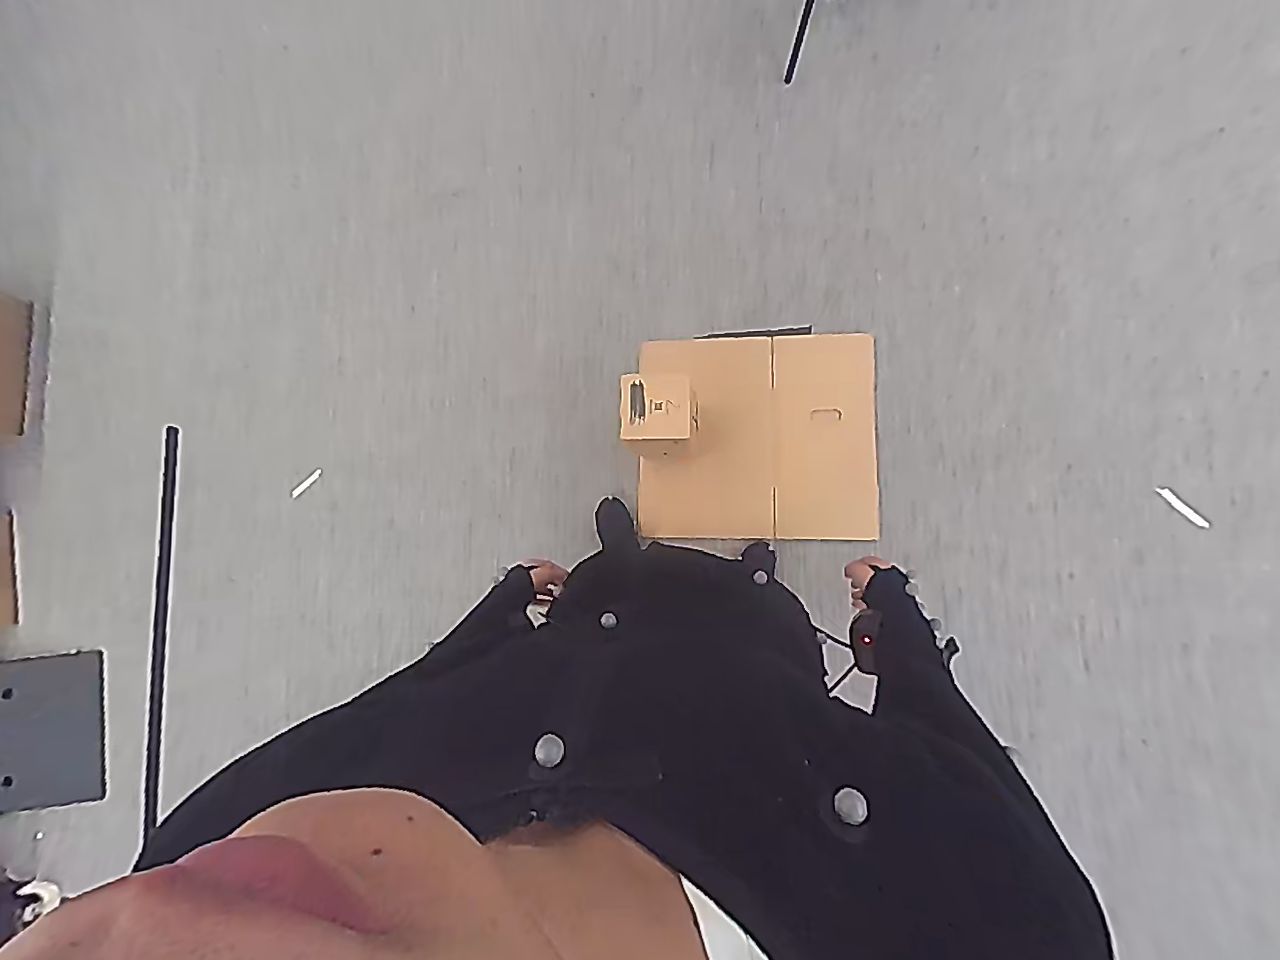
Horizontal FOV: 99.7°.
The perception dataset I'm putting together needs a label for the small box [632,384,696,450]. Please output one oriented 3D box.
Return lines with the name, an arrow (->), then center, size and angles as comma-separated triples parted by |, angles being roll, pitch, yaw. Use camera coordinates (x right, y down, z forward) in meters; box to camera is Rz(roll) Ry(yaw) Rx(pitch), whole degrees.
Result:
small box -> 0.074, -0.178, 1.568 | 0.179, 0.176, 0.168 | 0, 86, 8
